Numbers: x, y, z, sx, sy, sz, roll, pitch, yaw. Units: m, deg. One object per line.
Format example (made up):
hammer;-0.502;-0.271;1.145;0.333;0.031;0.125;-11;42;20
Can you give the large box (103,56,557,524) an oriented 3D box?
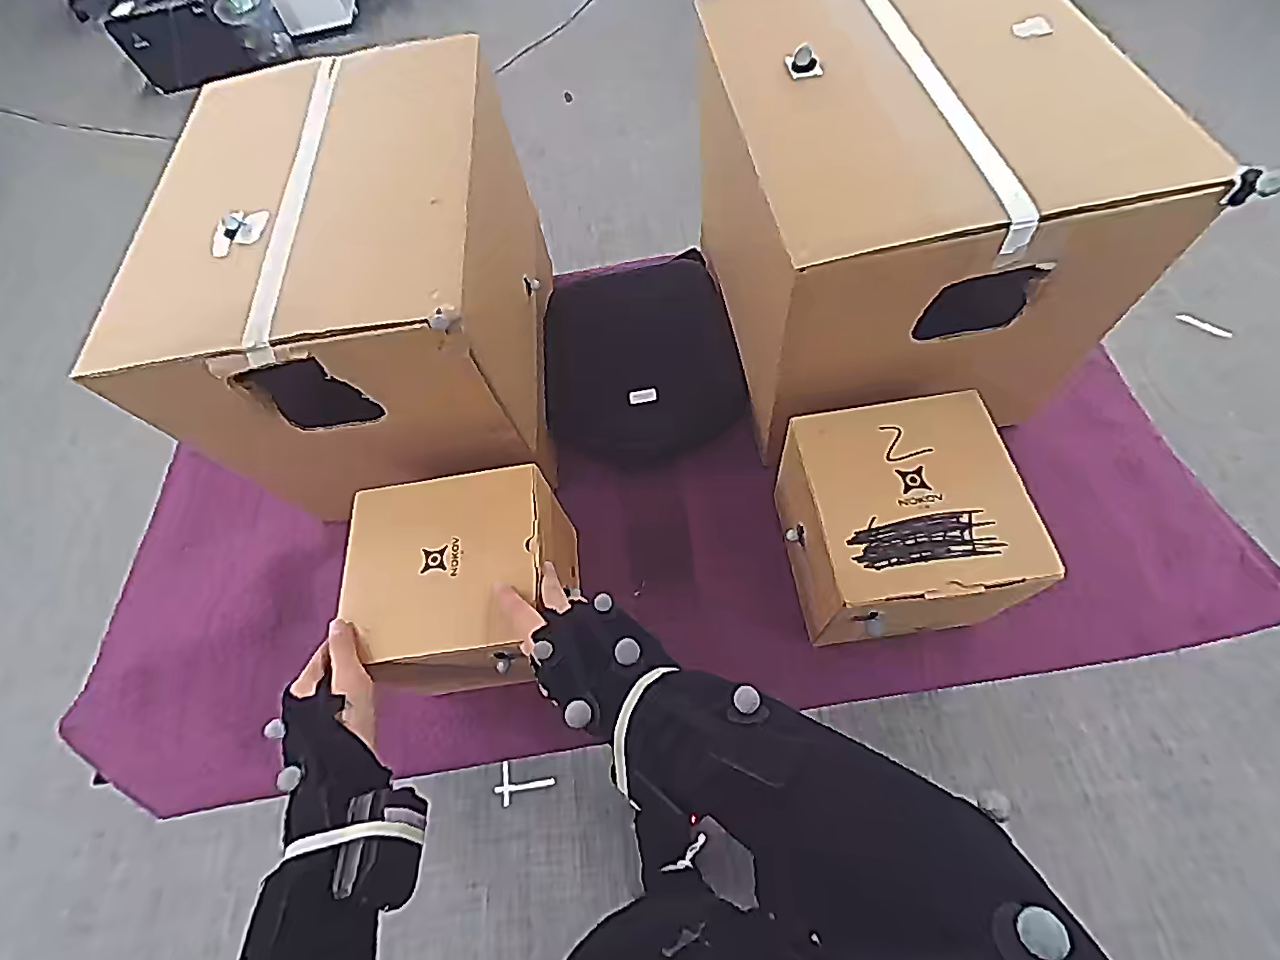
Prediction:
large box;-0.291;-0.200;0.644;0.320;0.320;0.408;-9;65;4
